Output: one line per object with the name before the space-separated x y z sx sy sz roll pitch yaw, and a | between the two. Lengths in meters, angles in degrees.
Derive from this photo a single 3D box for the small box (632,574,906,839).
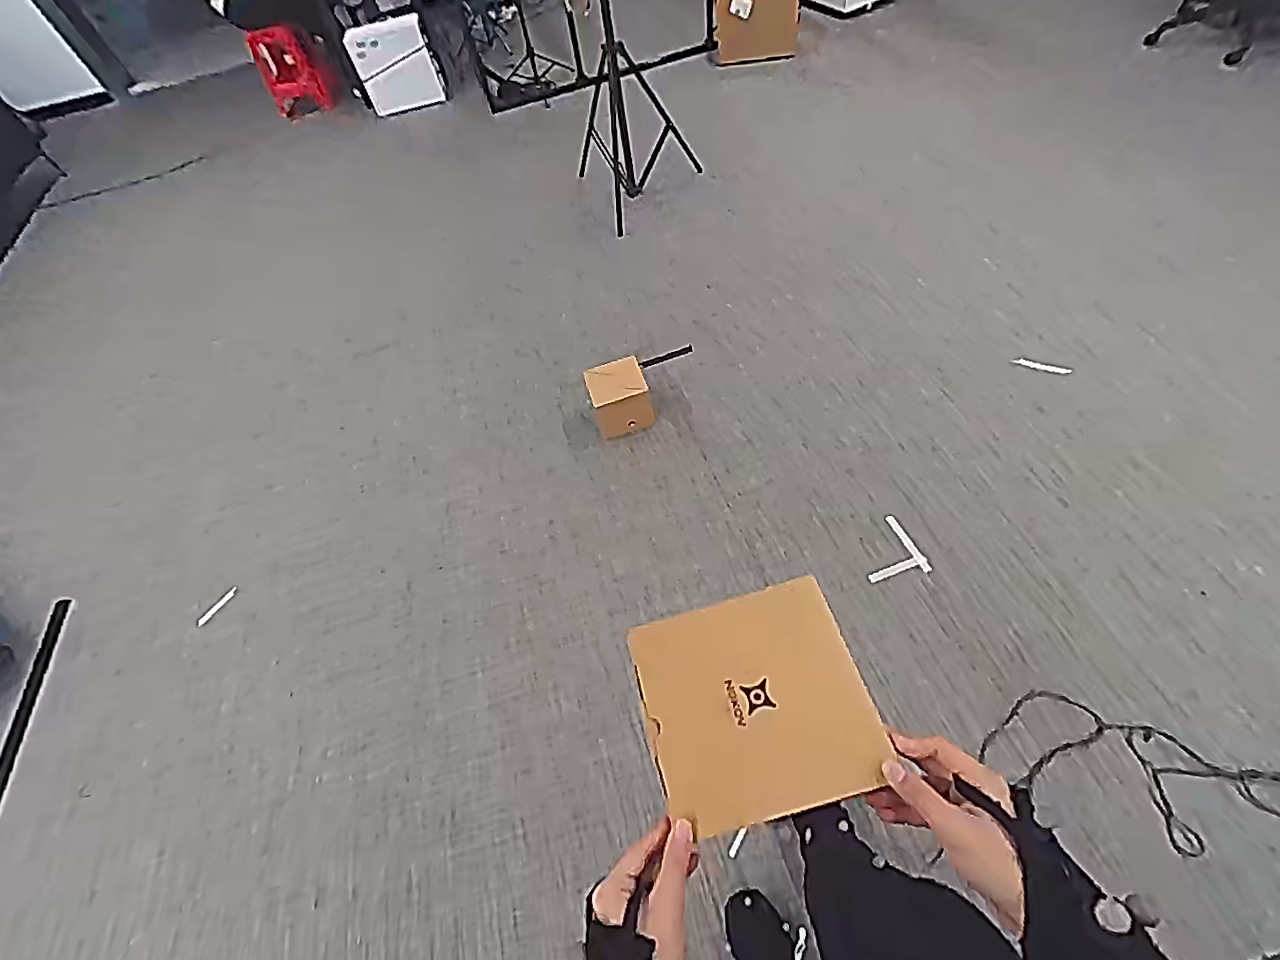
small box | 0.107 0.210 0.500 0.179 0.176 0.168 -18 57 2

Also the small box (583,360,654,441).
small box | -0.068 -0.259 1.738 0.179 0.176 0.168 -18 55 -3
